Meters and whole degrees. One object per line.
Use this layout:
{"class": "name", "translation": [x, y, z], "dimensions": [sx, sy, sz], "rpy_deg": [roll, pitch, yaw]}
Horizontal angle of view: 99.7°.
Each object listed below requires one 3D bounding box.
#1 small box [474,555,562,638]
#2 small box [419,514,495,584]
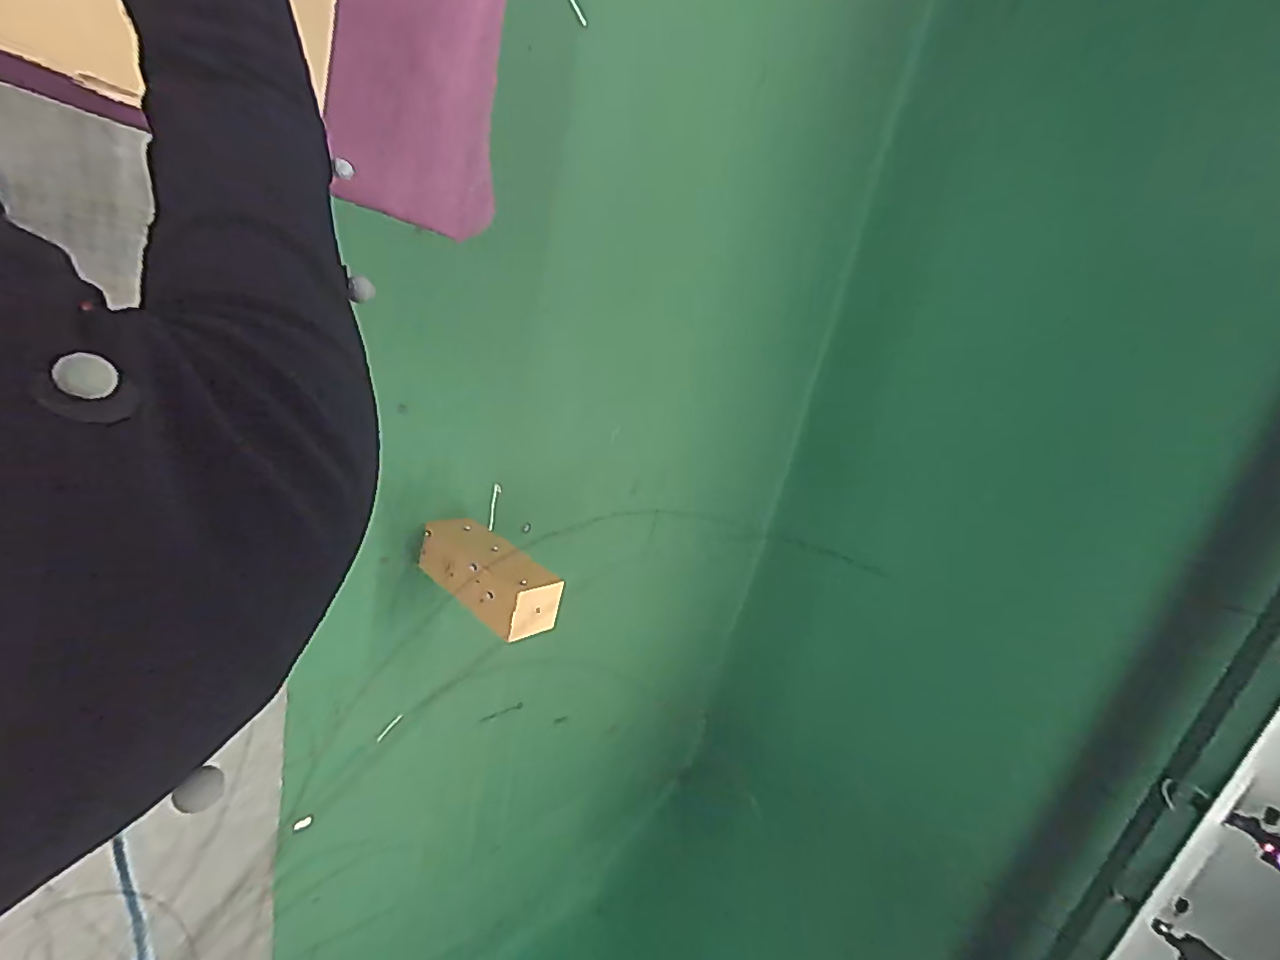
{"class": "small box", "translation": [-0.370, 0.342, 1.630], "dimensions": [0.179, 0.176, 0.168], "rpy_deg": [-5, 115, -52]}
{"class": "small box", "translation": [-0.617, 0.226, 1.814], "dimensions": [0.179, 0.176, 0.168], "rpy_deg": [-5, 114, -50]}
